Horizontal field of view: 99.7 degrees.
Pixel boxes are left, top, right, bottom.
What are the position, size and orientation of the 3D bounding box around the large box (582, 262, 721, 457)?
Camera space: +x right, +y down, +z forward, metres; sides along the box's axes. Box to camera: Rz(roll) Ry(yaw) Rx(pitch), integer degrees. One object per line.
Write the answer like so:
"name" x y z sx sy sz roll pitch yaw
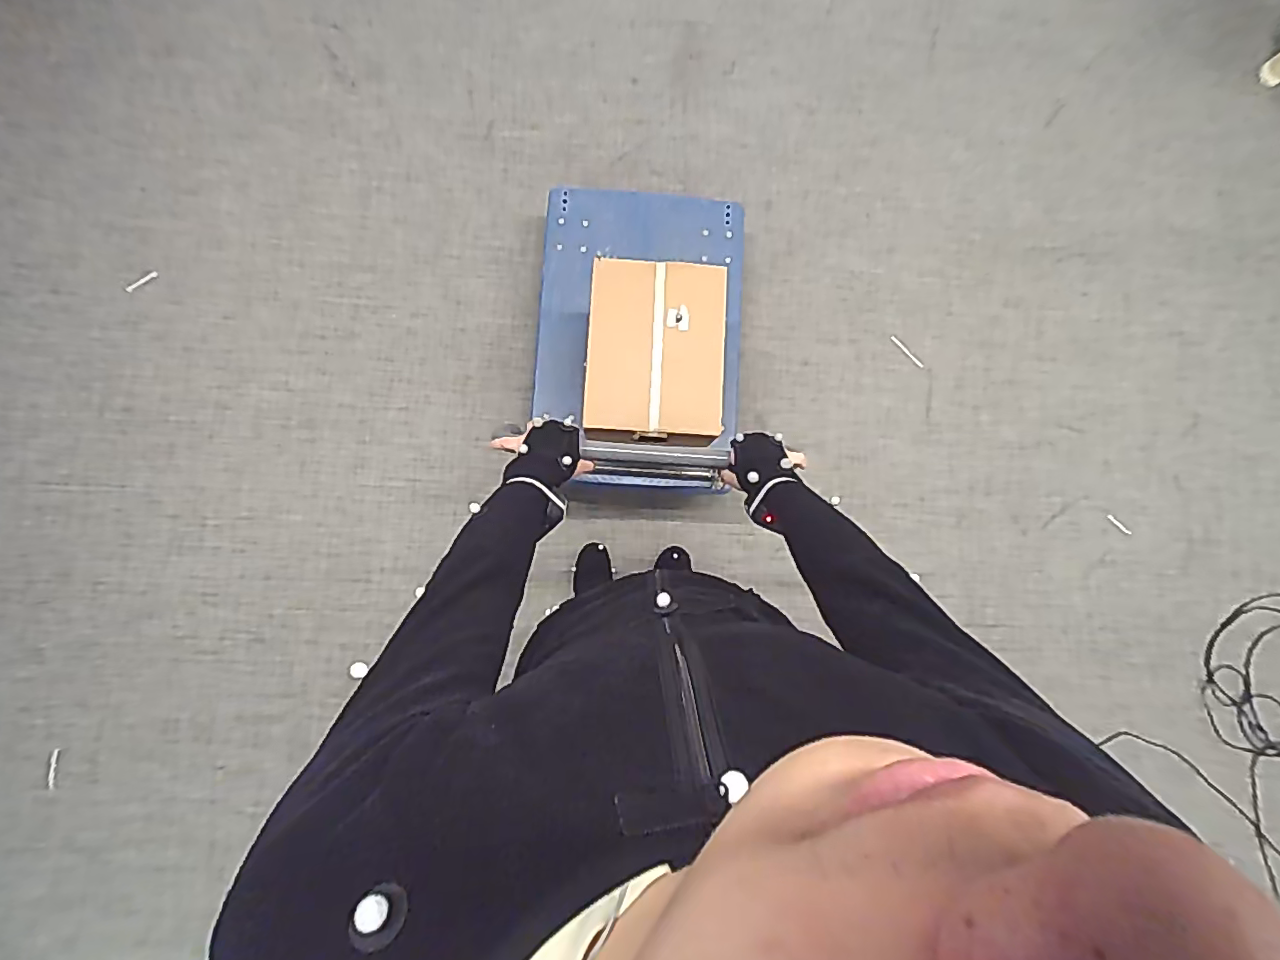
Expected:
"large box" 0.023 -0.281 1.376 0.320 0.320 0.408 3 82 -4
